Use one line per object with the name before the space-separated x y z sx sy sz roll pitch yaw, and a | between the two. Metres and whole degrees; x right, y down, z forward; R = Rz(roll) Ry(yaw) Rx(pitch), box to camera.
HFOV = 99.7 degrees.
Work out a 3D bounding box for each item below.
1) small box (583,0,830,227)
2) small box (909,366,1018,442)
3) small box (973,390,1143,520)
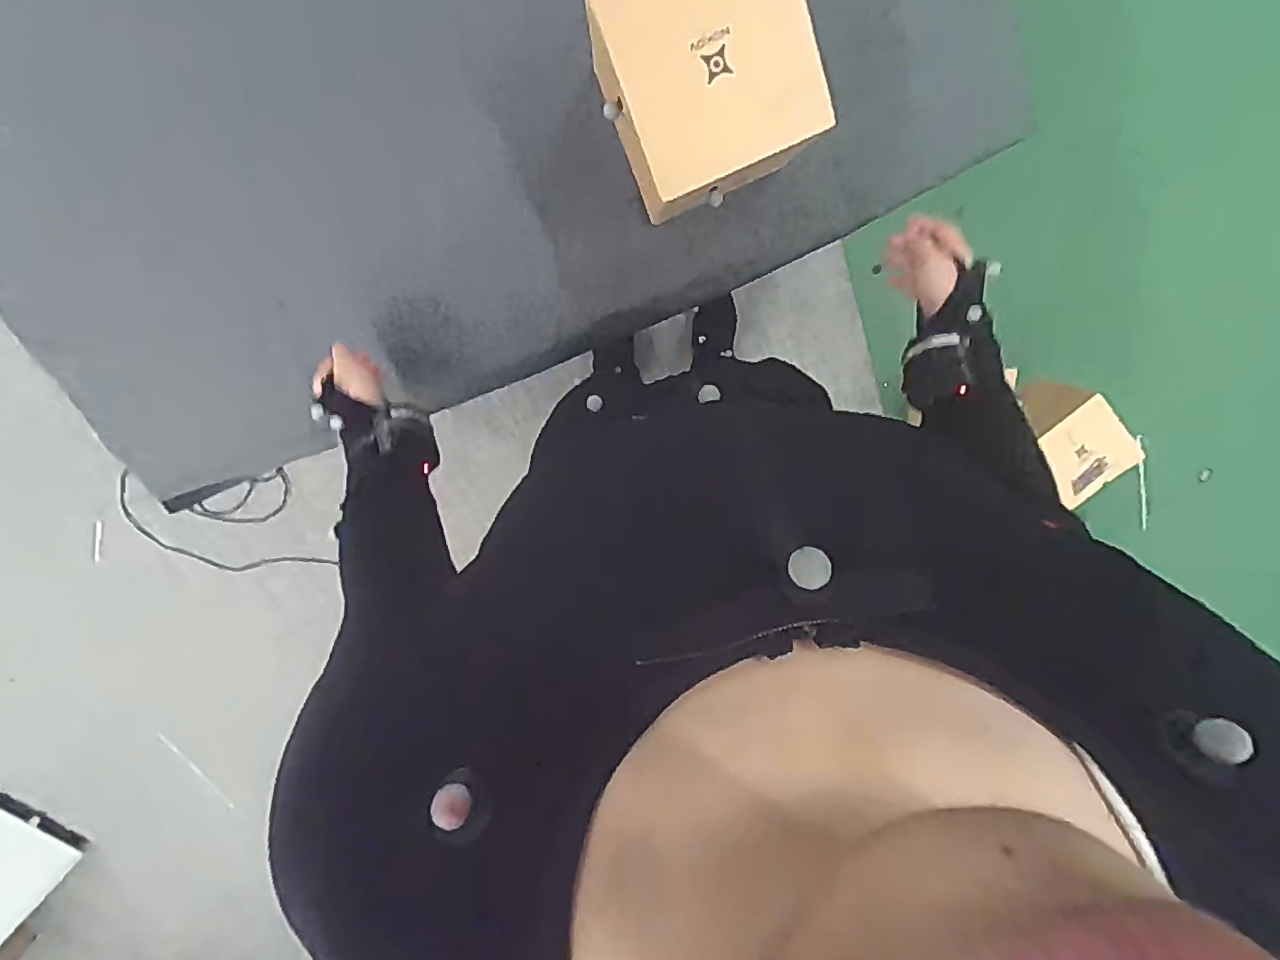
small box | 0.060 -0.365 0.528 0.168 0.176 0.179 -22 107 6
small box | 0.814 -0.192 1.380 0.179 0.176 0.168 -6 111 1
small box | 0.823 -0.058 1.081 0.179 0.176 0.168 43 105 -14
